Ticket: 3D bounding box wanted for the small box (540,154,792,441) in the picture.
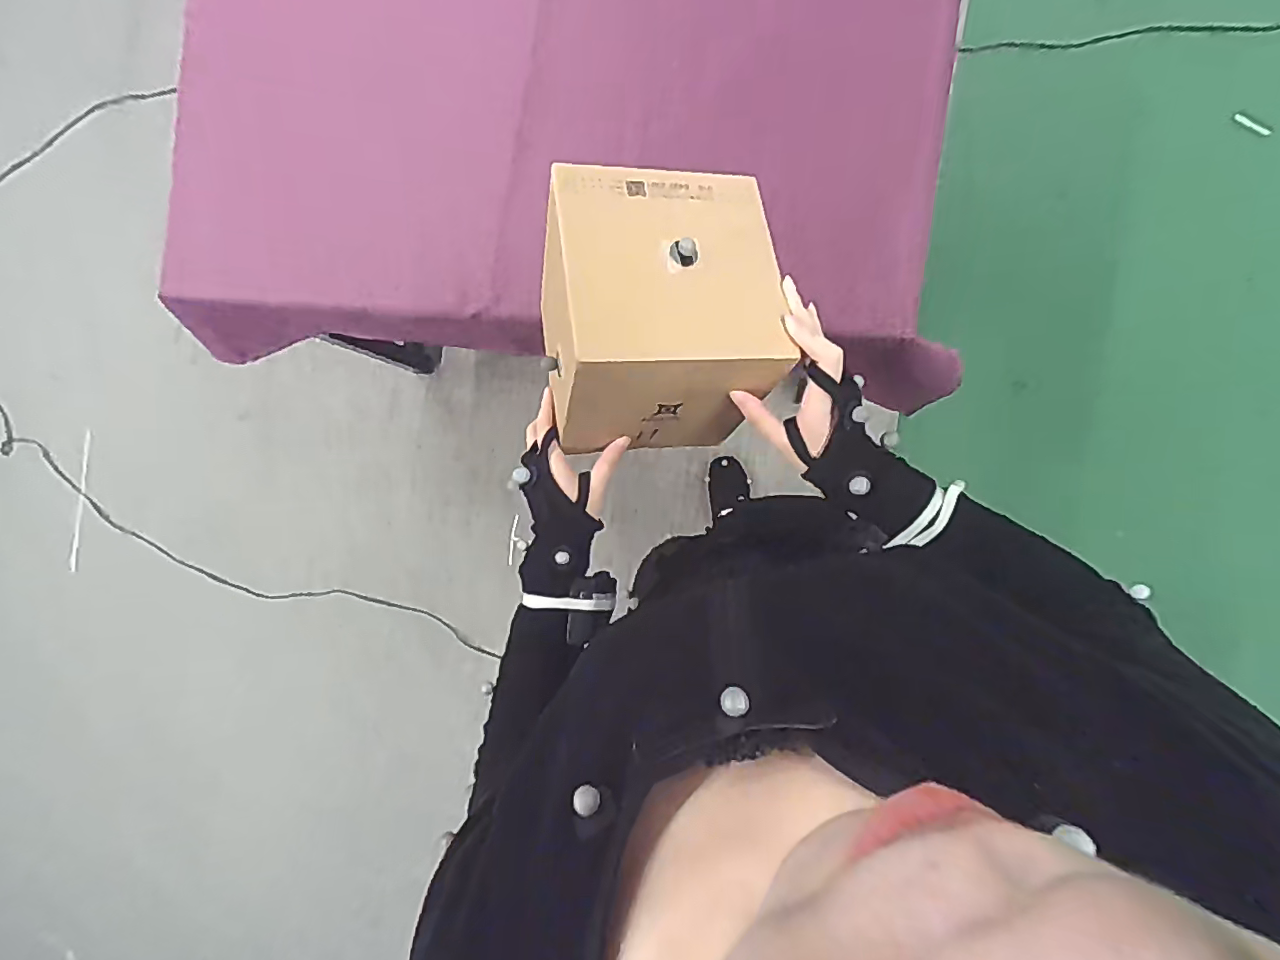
[{"bbox_3d":[0.004,-0.146,0.470,0.168,0.179,0.176,-3,74,-14],"label":"small box"}]
